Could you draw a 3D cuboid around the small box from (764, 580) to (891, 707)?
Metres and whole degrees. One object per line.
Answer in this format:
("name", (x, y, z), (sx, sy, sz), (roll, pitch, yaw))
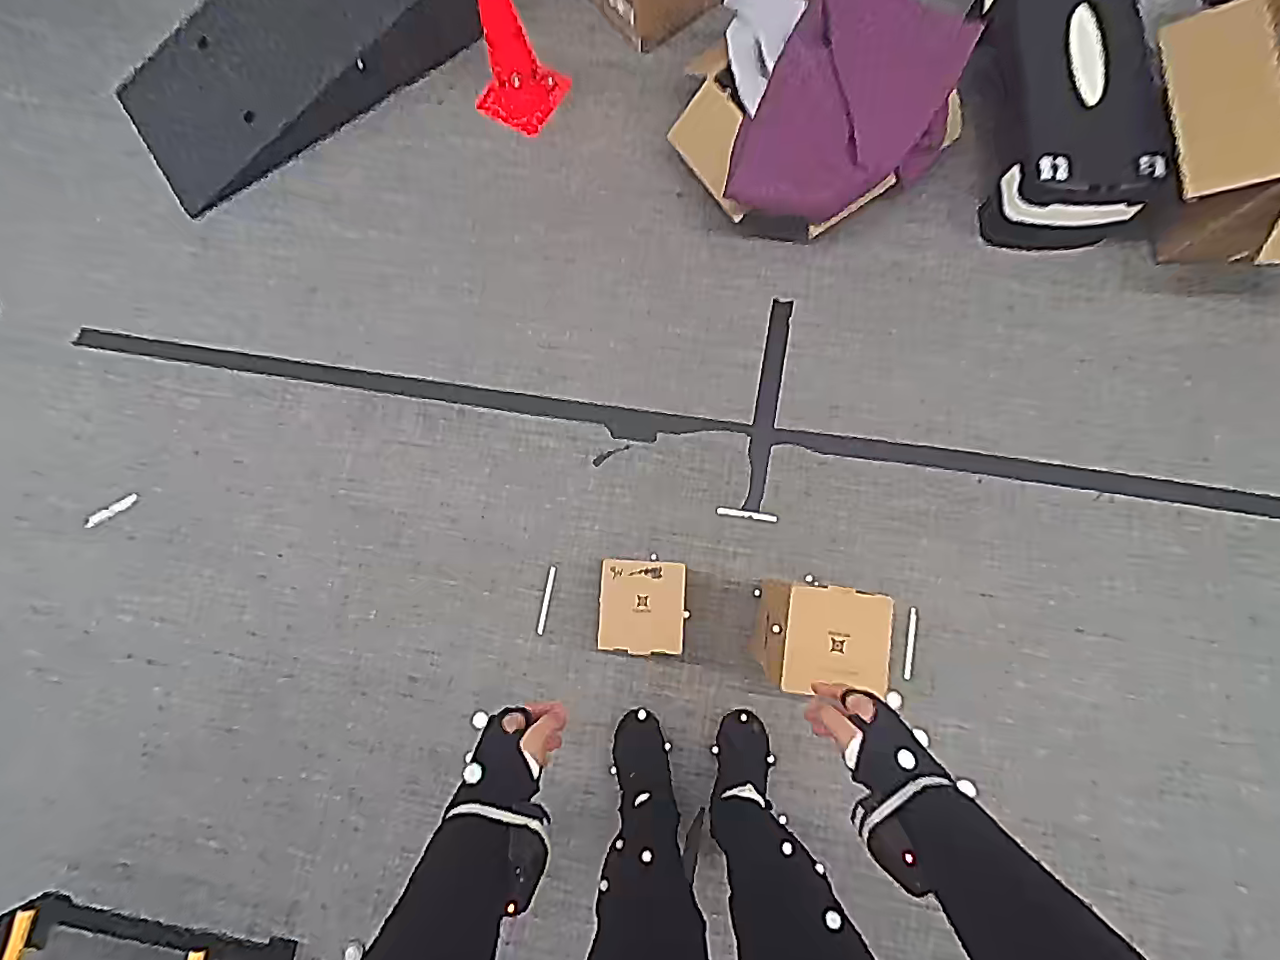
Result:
("small box", (0.318, 0.274, 0.946), (0.168, 0.176, 0.179), (7, 82, 5))

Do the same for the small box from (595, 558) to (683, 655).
("small box", (0.004, 0.256, 1.126), (0.168, 0.176, 0.179), (3, 81, 3))

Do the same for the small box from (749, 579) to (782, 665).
("small box", (0.330, 0.302, 1.105), (0.179, 0.176, 0.168), (12, 82, 3))
